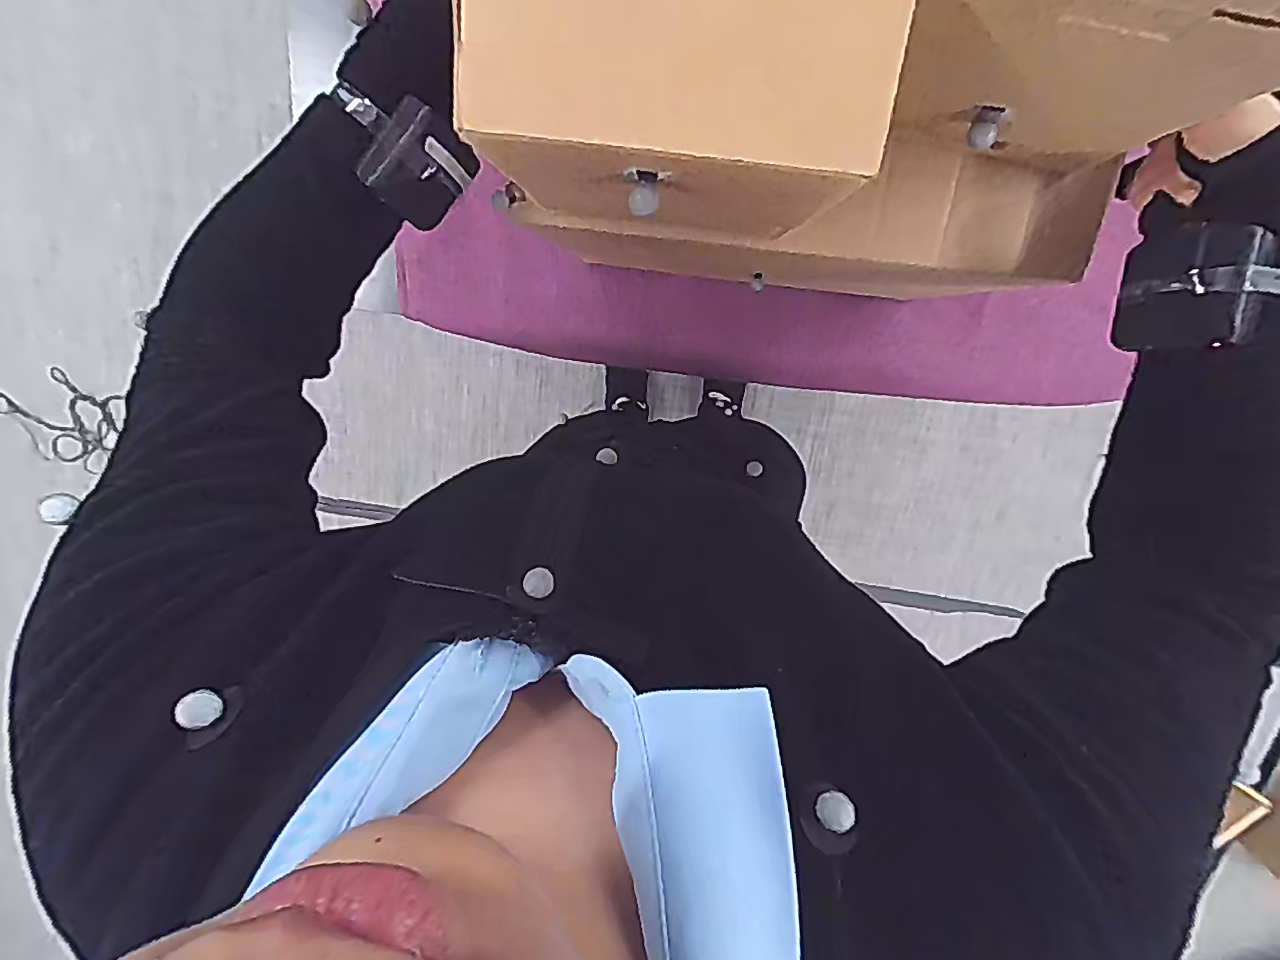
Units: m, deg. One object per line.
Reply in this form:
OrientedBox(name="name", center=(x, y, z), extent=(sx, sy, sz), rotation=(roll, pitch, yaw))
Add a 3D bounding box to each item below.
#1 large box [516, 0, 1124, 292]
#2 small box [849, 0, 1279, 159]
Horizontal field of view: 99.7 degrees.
OrientedBox(name="large box", center=(0.135, -0.348, 0.479), extent=(0.408, 0.320, 0.320), rotation=(7, 105, 4))
OrientedBox(name="small box", center=(0.212, -0.276, 0.237), extent=(0.168, 0.176, 0.179), rotation=(13, 106, 2))
